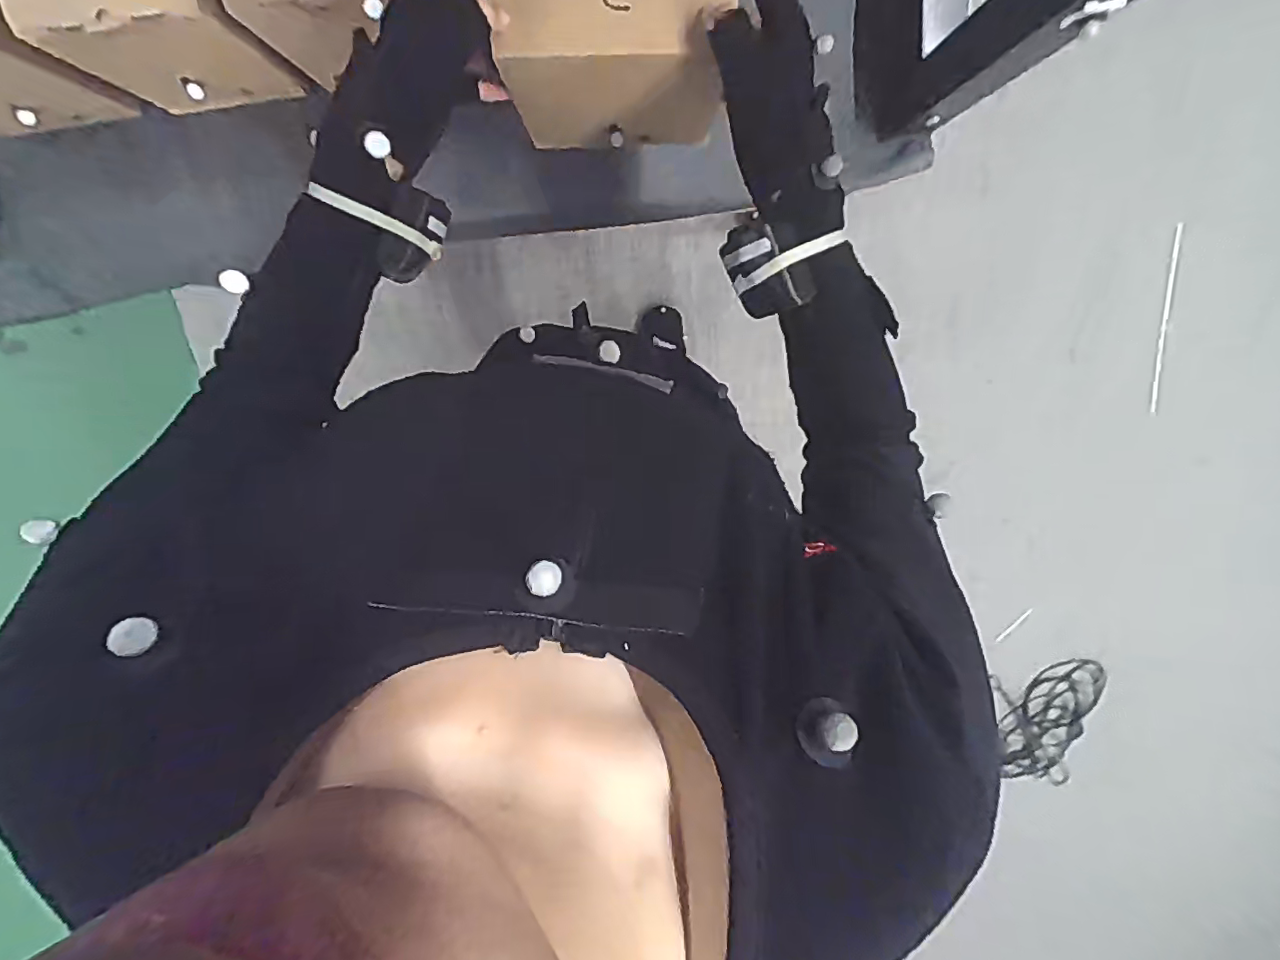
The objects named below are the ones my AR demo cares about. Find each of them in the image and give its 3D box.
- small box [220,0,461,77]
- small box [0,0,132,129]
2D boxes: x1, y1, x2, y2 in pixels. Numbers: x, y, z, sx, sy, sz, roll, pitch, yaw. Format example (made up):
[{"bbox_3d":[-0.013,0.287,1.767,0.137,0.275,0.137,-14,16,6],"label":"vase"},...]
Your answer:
[{"bbox_3d":[-0.285,-0.513,0.507,0.168,0.176,0.179,-7,105,1],"label":"small box"},{"bbox_3d":[-0.656,-0.469,0.513,0.168,0.176,0.179,-8,105,2],"label":"small box"}]
